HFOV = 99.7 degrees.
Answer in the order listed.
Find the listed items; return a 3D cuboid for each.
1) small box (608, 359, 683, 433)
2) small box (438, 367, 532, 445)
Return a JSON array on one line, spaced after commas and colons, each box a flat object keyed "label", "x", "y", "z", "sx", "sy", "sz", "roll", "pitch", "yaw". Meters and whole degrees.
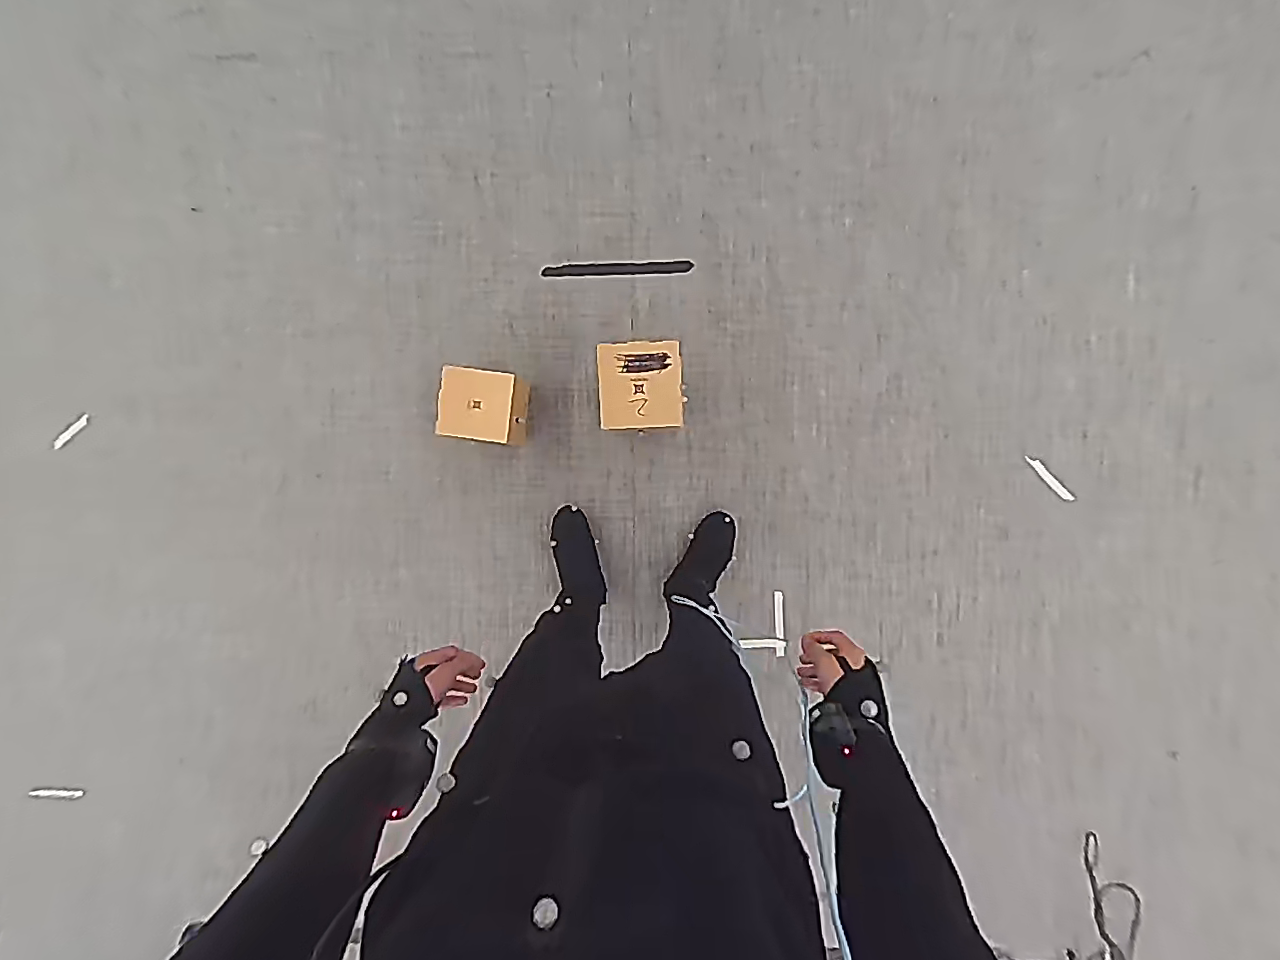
[{"label": "small box", "x": 0.016, "y": -0.203, "z": 1.337, "sx": 0.179, "sy": 0.176, "sz": 0.168, "roll": -1, "pitch": 94, "yaw": 1}, {"label": "small box", "x": -0.379, "y": -0.181, "z": 1.353, "sx": 0.179, "sy": 0.176, "sz": 0.168, "roll": 8, "pitch": 94, "yaw": 2}]
